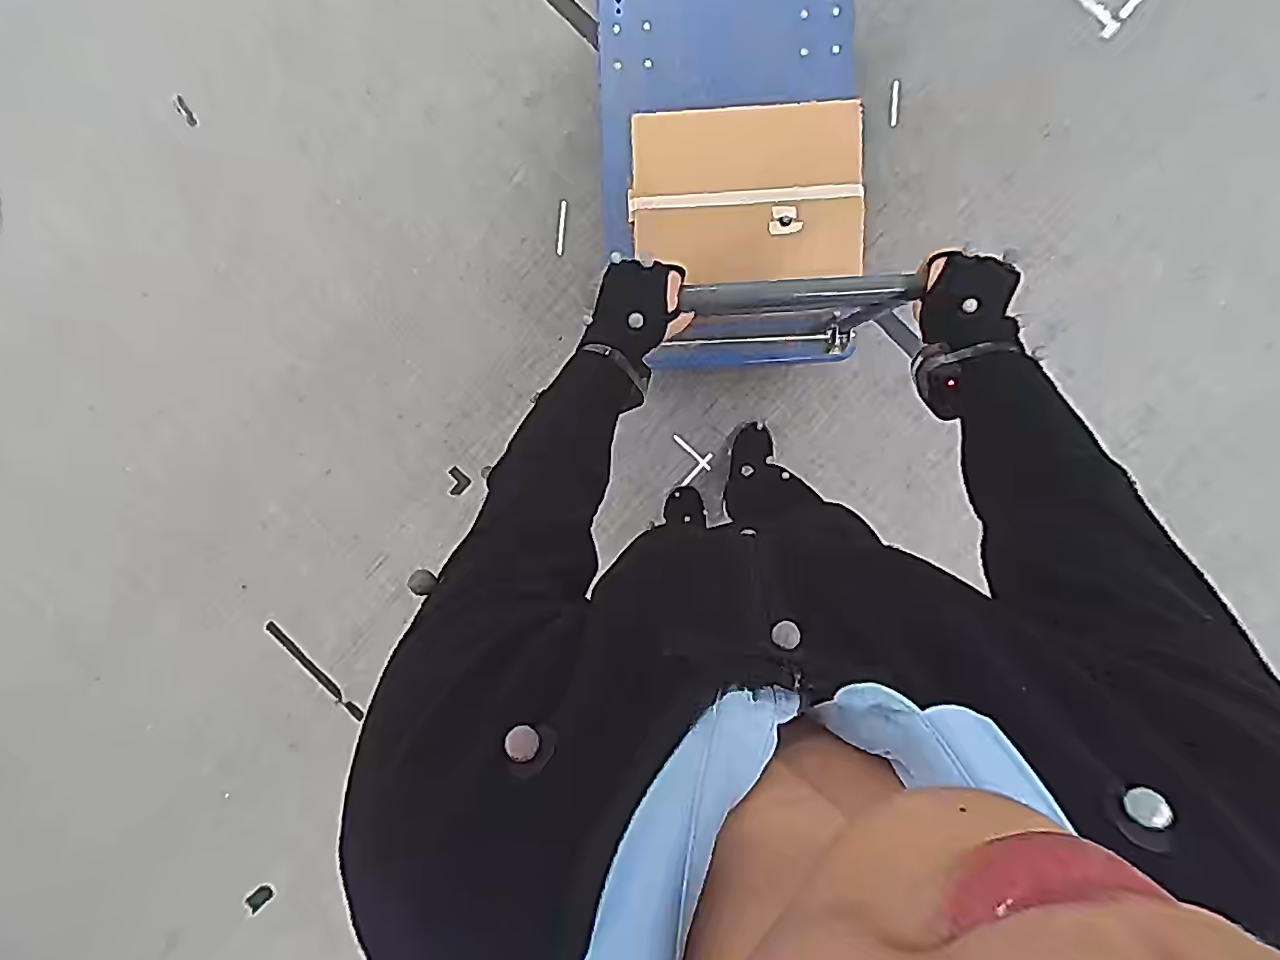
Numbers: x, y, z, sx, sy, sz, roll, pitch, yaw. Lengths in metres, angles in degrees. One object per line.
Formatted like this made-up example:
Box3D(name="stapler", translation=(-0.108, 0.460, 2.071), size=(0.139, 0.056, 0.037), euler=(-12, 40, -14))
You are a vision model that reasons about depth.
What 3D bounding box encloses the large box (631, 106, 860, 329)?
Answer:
Box3D(name="large box", translation=(0.195, -0.505, 1.113), size=(0.408, 0.320, 0.320), euler=(-2, 95, 3))
